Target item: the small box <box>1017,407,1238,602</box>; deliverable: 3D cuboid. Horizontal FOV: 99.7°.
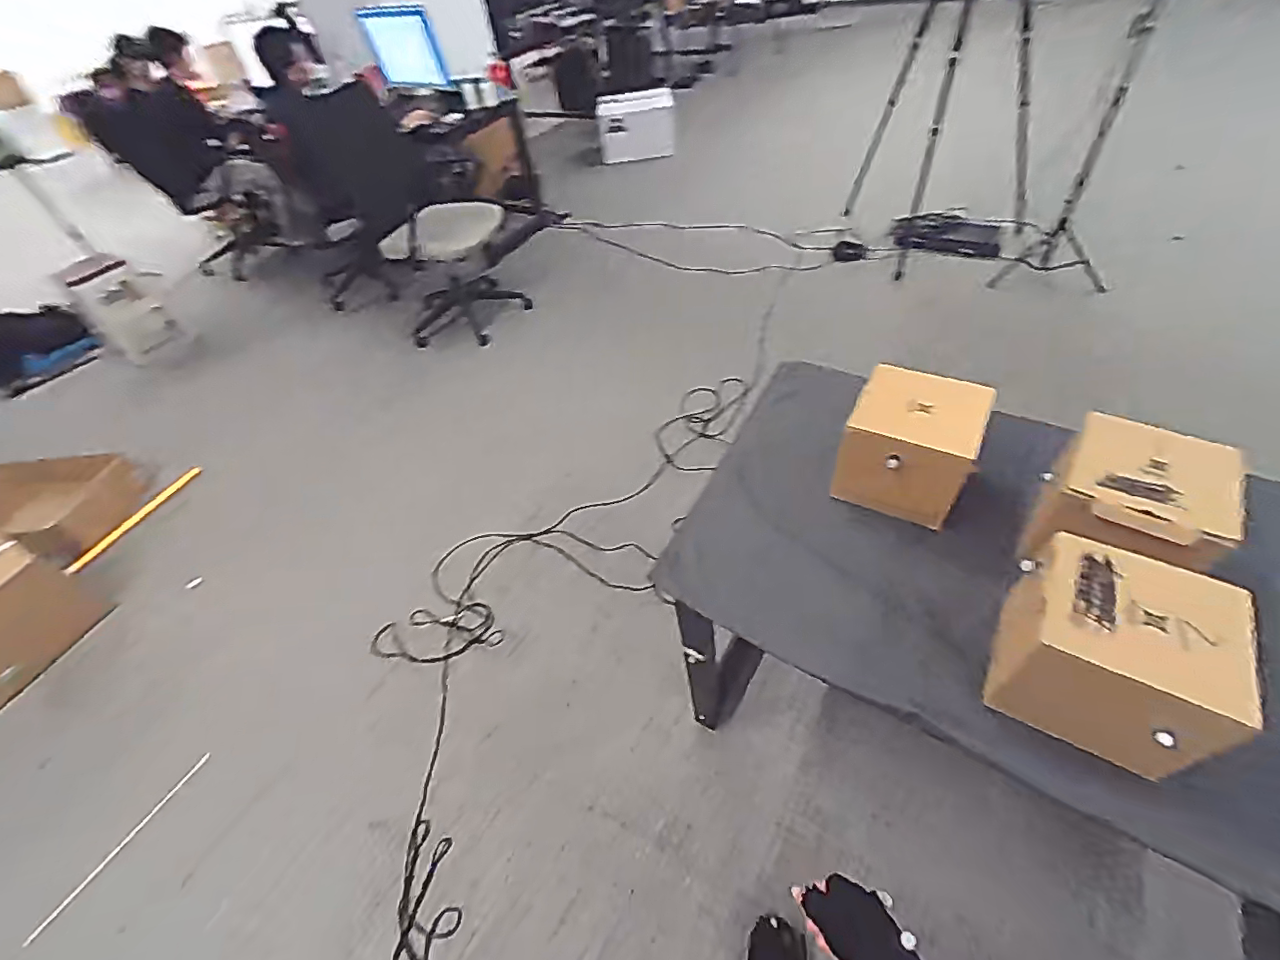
[{"bbox_3d":[0.654,0.035,0.743,0.168,0.176,0.179,26,56,28],"label":"small box"}]
